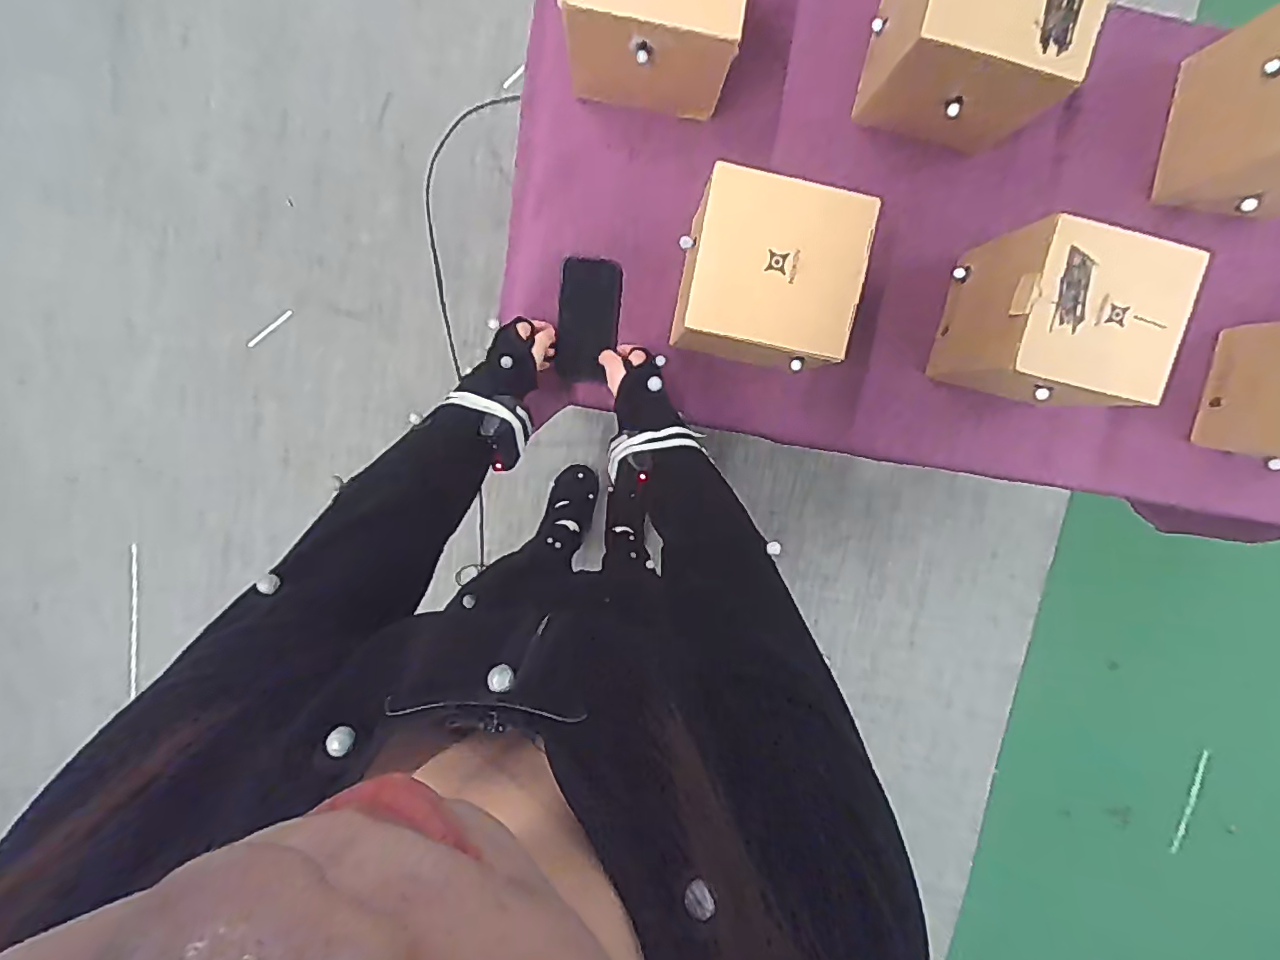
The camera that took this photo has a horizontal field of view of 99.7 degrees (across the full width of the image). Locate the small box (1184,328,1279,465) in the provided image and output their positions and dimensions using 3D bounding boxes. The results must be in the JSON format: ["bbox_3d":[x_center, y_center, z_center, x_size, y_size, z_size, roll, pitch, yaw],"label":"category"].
[{"bbox_3d":[0.871,-0.101,0.684,0.179,0.176,0.168,9,97,-4],"label":"small box"}]

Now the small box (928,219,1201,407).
[{"bbox_3d":[0.491,-0.186,0.656,0.179,0.176,0.168,12,97,-5],"label":"small box"}]

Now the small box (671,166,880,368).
[{"bbox_3d":[0.141,-0.230,0.634,0.179,0.176,0.168,11,97,-6],"label":"small box"}]

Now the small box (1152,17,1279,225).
[{"bbox_3d":[0.765,-0.426,0.632,0.168,0.176,0.179,7,98,-3],"label":"small box"}]
